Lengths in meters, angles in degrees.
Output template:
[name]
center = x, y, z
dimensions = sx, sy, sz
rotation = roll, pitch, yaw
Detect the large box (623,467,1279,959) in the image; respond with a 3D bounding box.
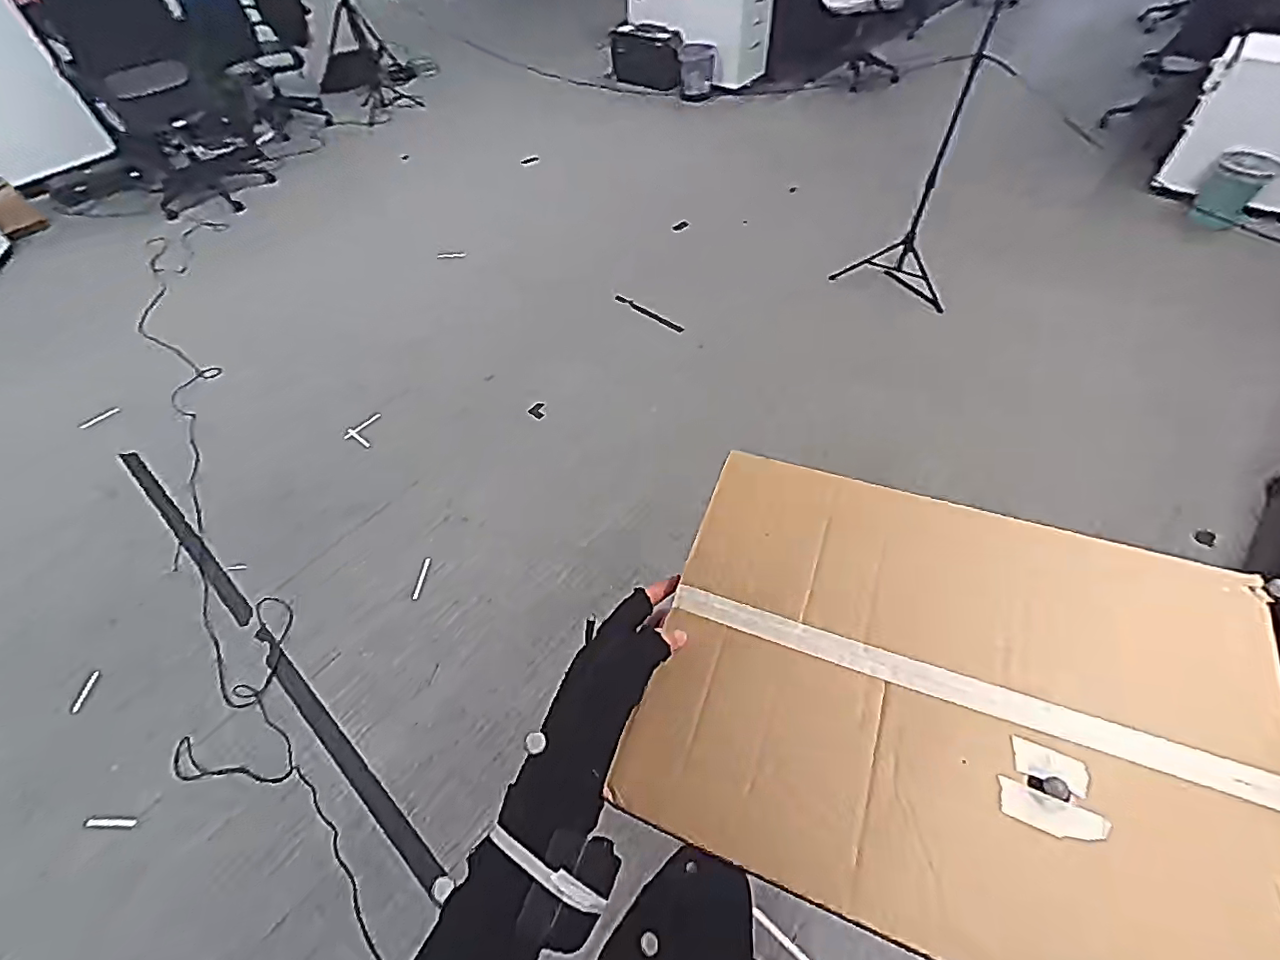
[large box]
center = 0.238, 0.235, 0.524
dimensions = 0.408, 0.320, 0.320
rotation = 15, 61, 18
